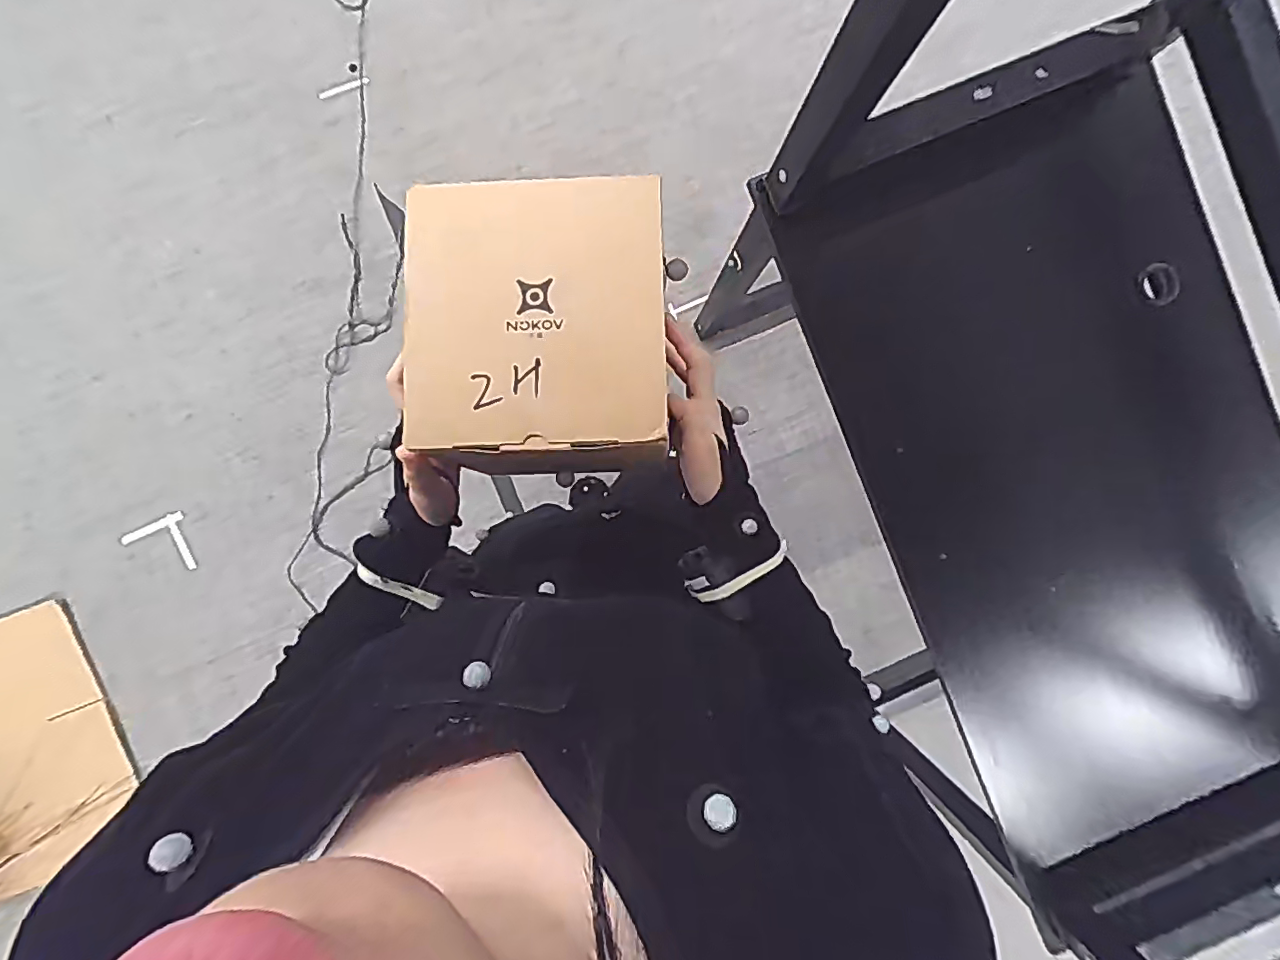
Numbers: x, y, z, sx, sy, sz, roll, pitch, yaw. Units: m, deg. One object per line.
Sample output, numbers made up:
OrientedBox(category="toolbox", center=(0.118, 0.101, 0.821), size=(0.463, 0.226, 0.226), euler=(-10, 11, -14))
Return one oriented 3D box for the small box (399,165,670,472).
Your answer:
OrientedBox(category="small box", center=(-0.063, -0.103, 0.413), size=(0.168, 0.176, 0.179), euler=(-2, 85, 2))
